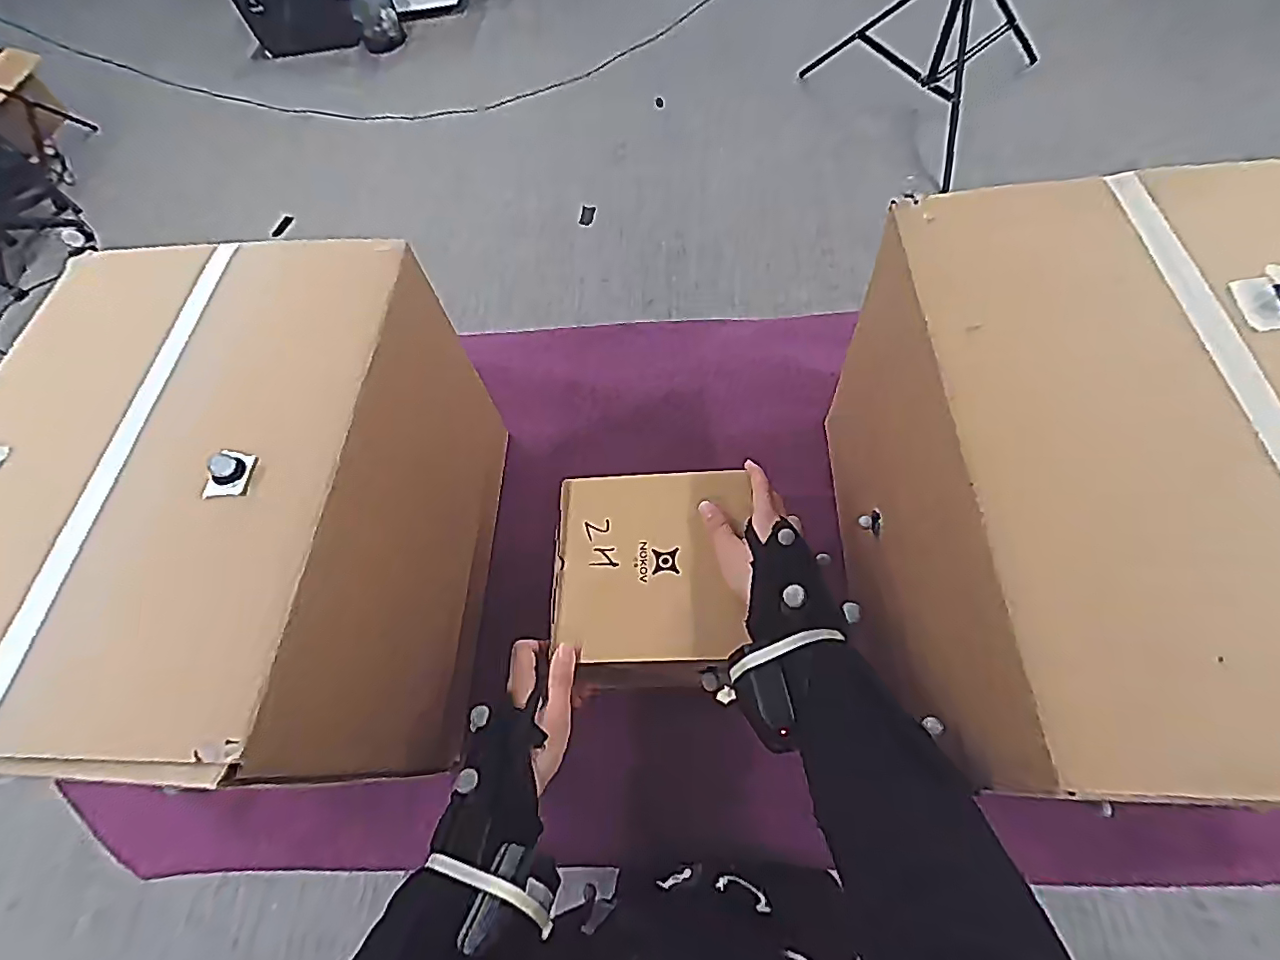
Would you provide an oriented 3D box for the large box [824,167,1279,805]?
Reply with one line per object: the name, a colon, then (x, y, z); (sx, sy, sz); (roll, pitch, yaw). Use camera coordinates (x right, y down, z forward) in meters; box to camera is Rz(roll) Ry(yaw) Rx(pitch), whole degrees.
large box: (0.356, 0.027, 0.439); (0.320, 0.320, 0.408); (-2, 61, 6)
